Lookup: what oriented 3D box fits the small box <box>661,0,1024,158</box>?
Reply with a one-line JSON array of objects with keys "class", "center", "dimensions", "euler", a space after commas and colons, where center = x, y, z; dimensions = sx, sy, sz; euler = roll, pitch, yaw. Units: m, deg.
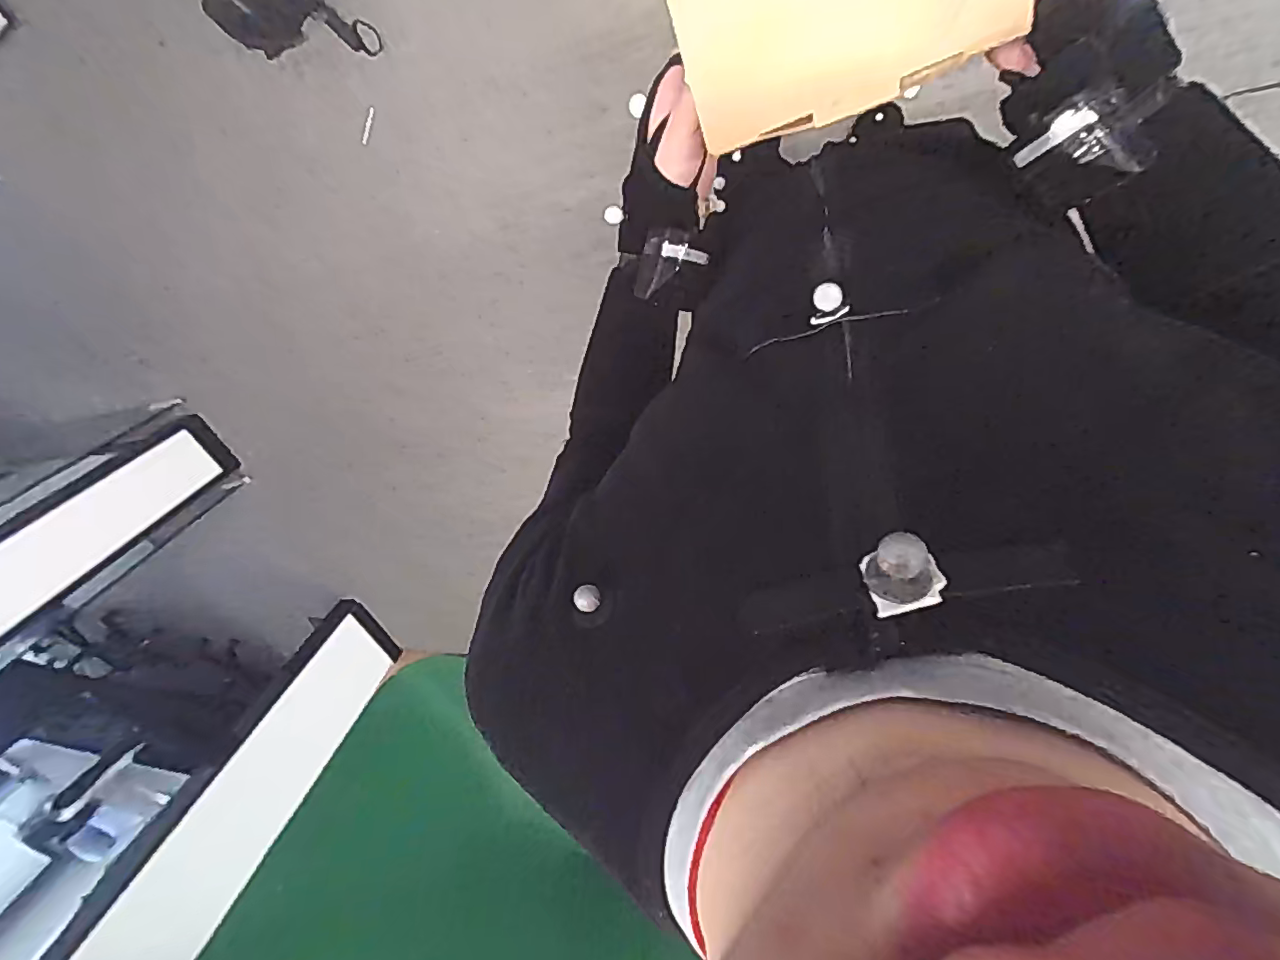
[{"class": "small box", "center": [0.102, -0.320, 0.309], "dimensions": [0.168, 0.176, 0.179], "euler": [-10, 123, 24]}]
